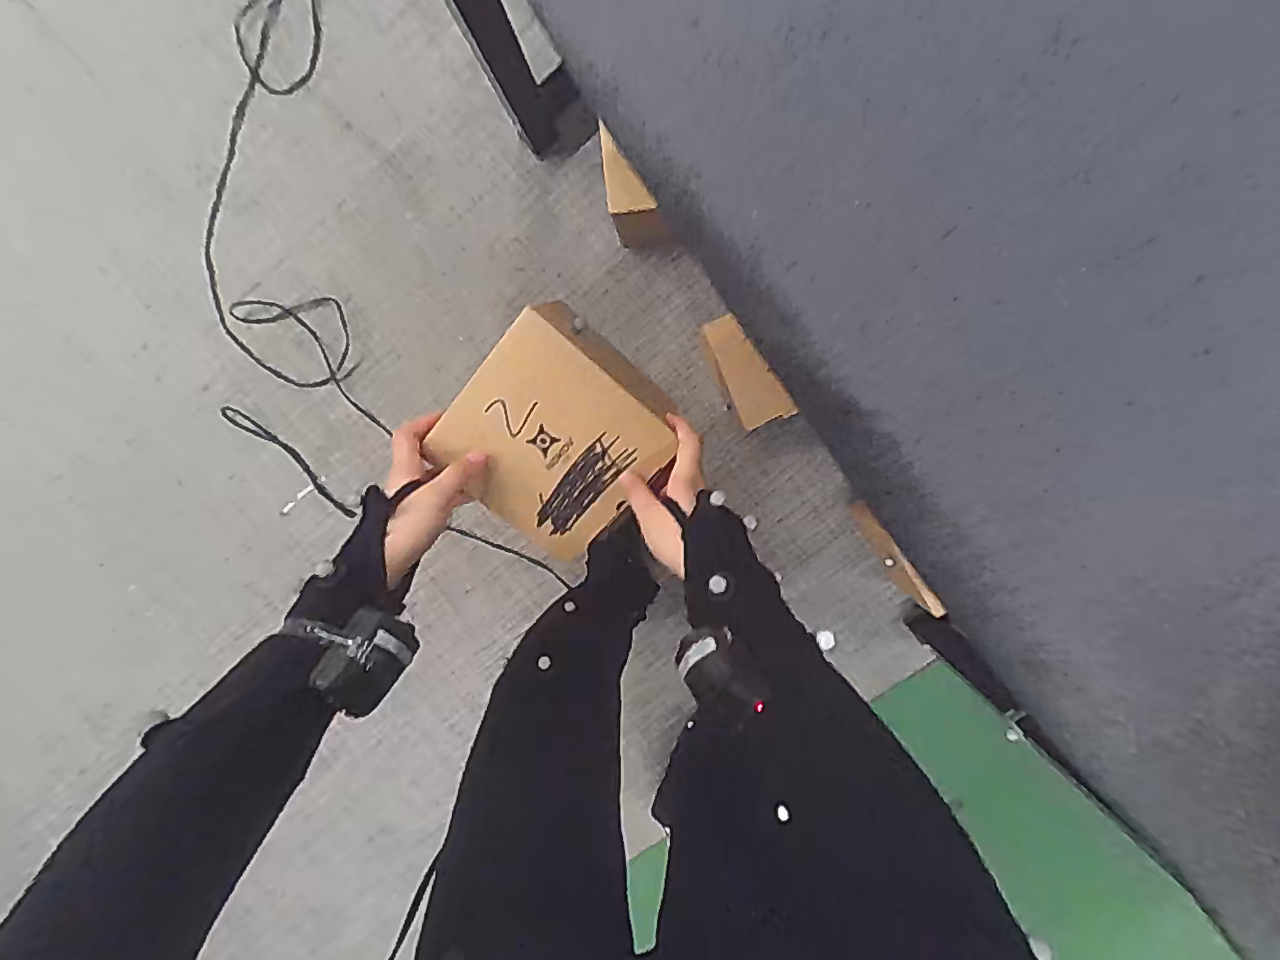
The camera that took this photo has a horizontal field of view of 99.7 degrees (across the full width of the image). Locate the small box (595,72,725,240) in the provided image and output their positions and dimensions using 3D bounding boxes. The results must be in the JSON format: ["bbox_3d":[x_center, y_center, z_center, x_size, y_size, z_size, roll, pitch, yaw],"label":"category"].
[{"bbox_3d":[0.034,-0.494,0.851,0.179,0.176,0.168,-6,97,3],"label":"small box"}]

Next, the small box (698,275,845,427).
[{"bbox_3d":[0.204,-0.201,0.882,0.168,0.176,0.179,-25,94,5],"label":"small box"}]

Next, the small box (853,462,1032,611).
[{"bbox_3d":[0.490,0.082,0.906,0.168,0.176,0.179,-33,96,7],"label":"small box"}]
